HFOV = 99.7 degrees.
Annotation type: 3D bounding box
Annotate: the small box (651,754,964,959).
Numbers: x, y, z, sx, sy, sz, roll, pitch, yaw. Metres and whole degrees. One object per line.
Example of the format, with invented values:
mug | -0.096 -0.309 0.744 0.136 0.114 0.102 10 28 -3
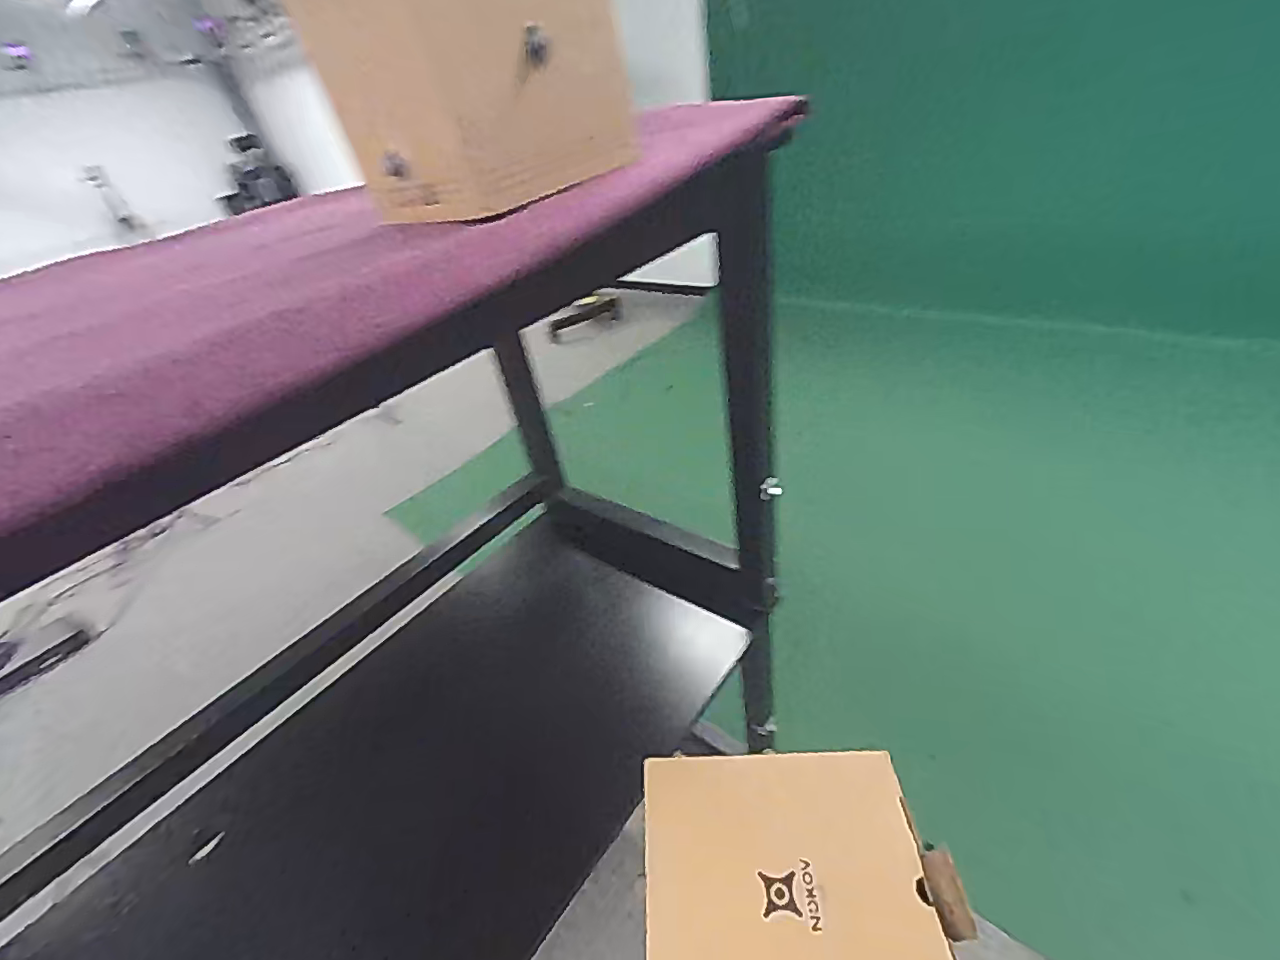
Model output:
small box | 0.101 0.312 0.378 0.179 0.176 0.168 -3 41 3
